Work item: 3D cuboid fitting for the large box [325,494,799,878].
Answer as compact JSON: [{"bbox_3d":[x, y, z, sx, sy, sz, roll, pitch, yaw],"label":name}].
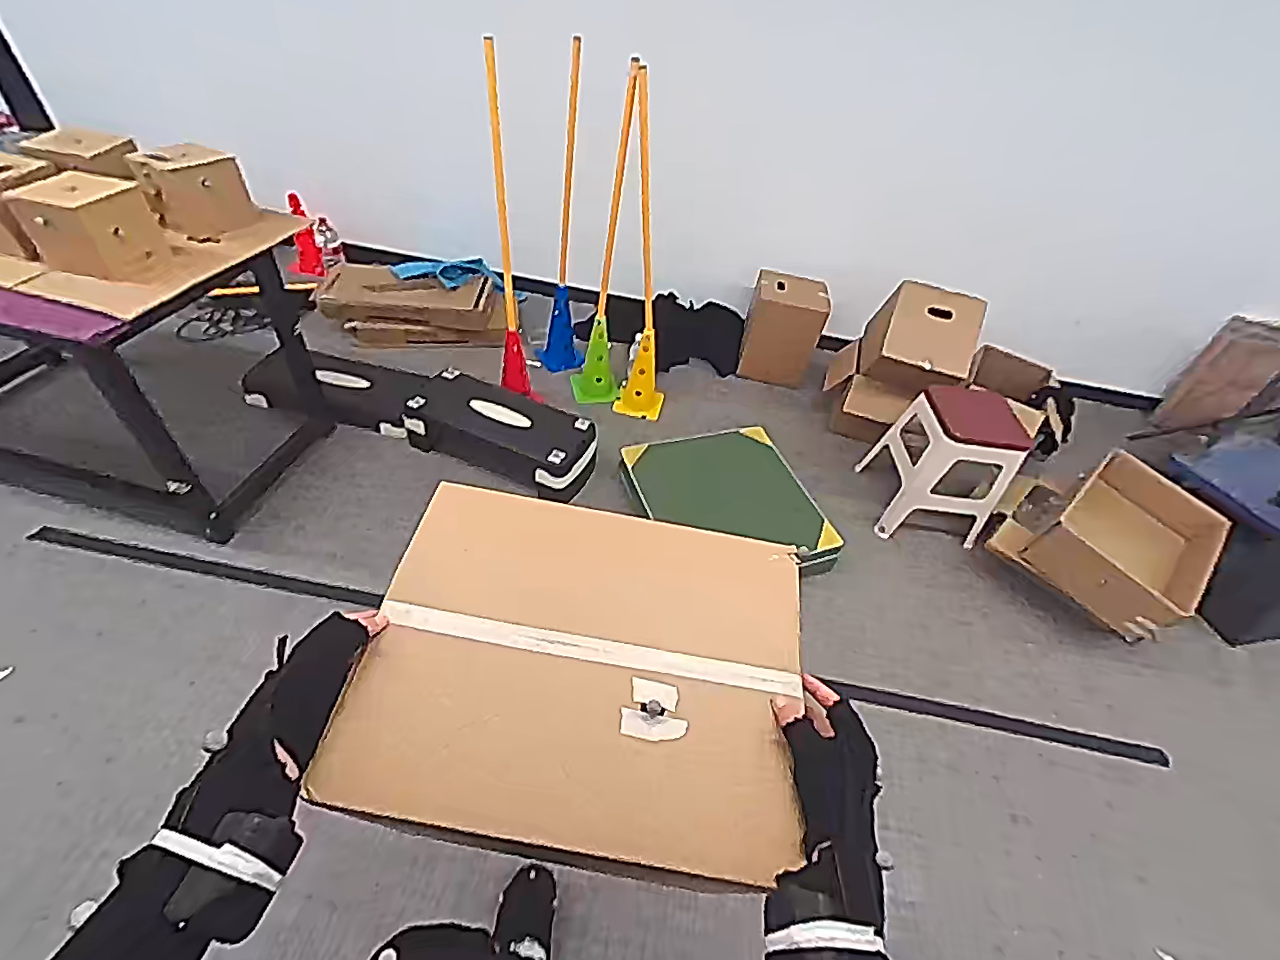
[{"bbox_3d":[-0.062,0.256,0.648,0.408,0.320,0.320,11,53,0],"label":"large box"}]
